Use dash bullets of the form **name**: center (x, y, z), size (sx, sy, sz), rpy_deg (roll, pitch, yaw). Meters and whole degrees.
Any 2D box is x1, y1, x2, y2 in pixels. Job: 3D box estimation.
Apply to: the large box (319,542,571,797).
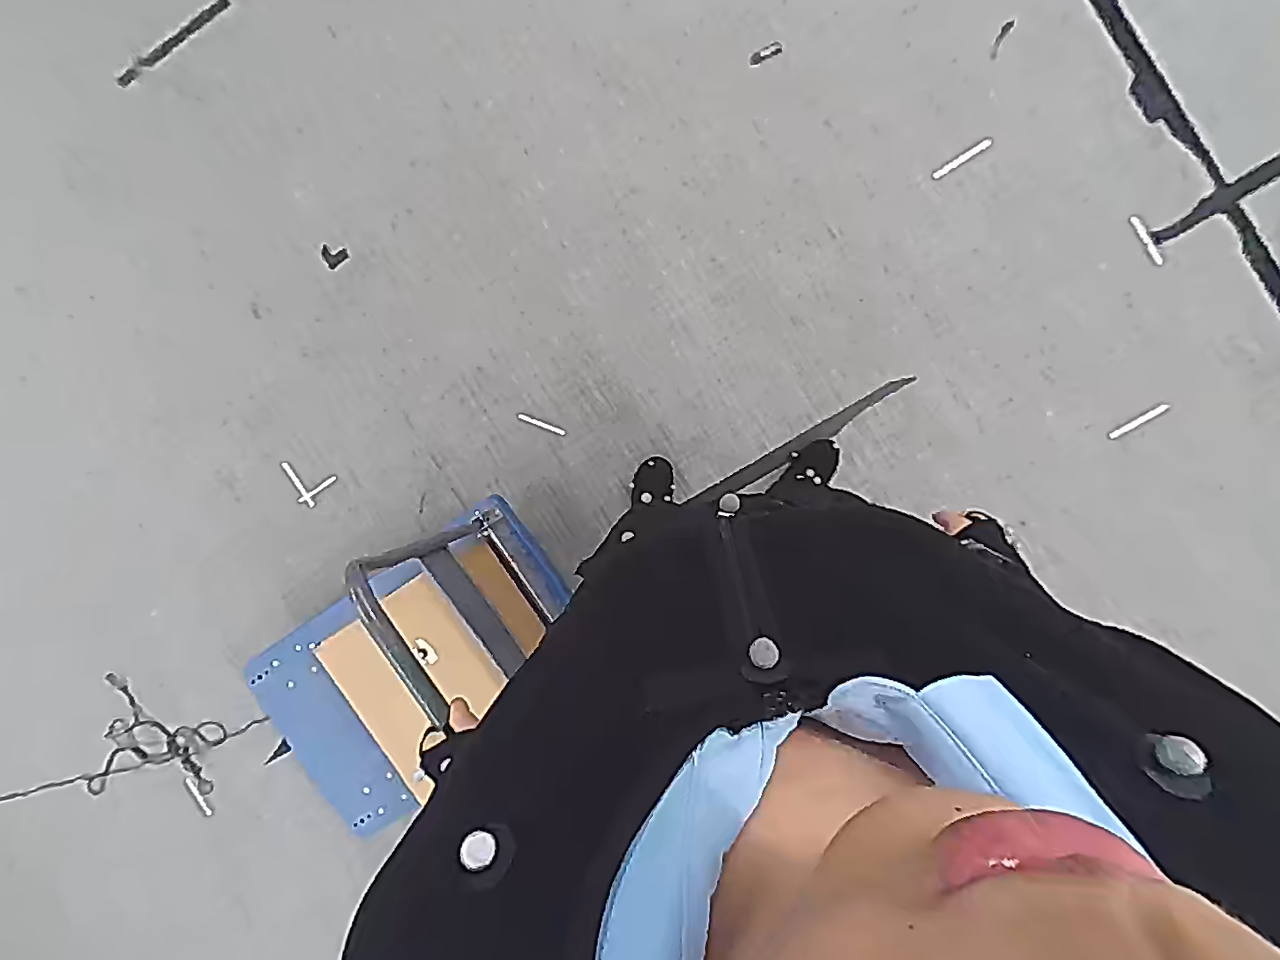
- **large box**: center (-0.421, 0.412, 1.259), size (0.320, 0.320, 0.408), rpy_deg (-34, 91, 5)
